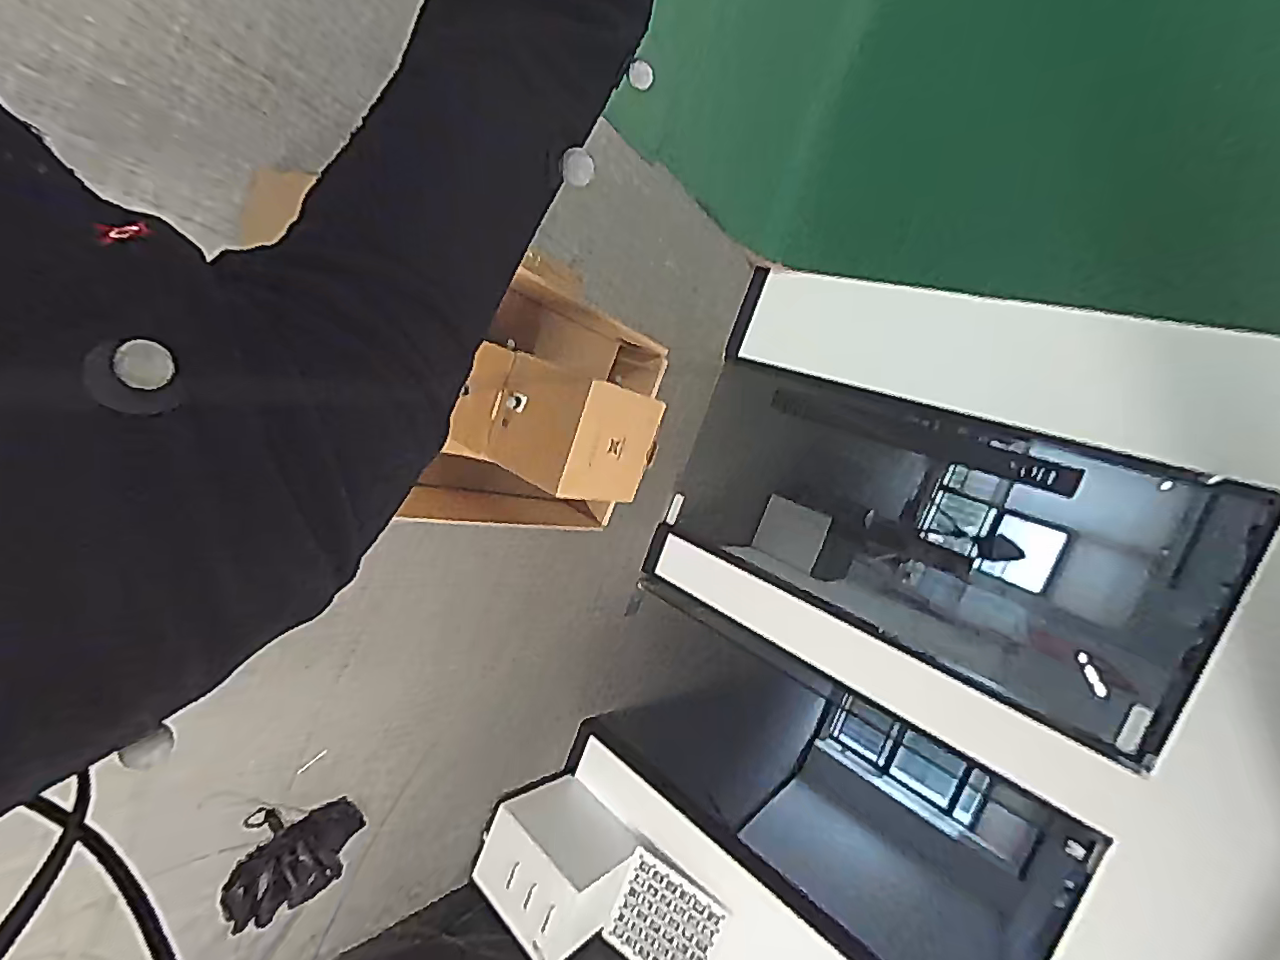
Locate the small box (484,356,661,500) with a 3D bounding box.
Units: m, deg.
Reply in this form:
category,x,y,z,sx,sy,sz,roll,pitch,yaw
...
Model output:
category,x,y,z,sx,sy,sz,roll,pitch,yaw
small box,-0.102,-0.078,0.820,0.179,0.176,0.168,7,104,-54
